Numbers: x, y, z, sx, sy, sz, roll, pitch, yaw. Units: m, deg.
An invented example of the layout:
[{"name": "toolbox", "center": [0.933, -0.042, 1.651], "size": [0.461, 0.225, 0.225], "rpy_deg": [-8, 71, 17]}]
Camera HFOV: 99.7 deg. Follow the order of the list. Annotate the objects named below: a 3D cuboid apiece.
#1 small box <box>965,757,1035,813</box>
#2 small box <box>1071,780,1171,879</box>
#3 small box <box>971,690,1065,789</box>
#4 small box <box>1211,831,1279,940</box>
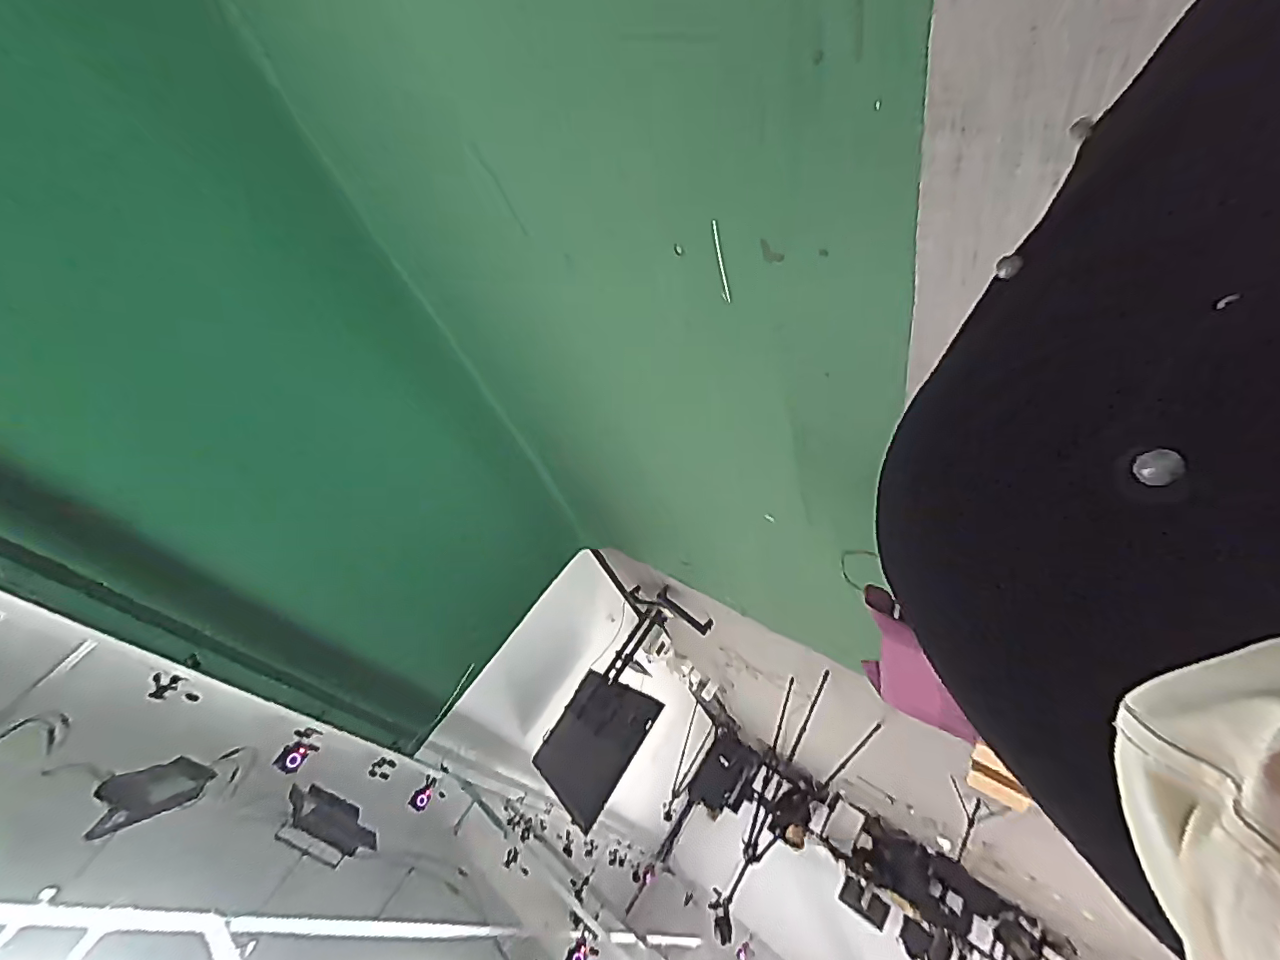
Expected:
[{"name": "small box", "center": [1.151, 0.904, 1.704], "size": [0.168, 0.176, 0.179], "rpy_deg": [19, 149, 37]}, {"name": "small box", "center": [1.366, 0.987, 1.537], "size": [0.168, 0.176, 0.179], "rpy_deg": [20, 152, 37]}, {"name": "small box", "center": [1.049, 0.719, 1.504], "size": [0.168, 0.176, 0.179], "rpy_deg": [21, 152, 35]}, {"name": "small box", "center": [1.525, 0.979, 1.287], "size": [0.168, 0.176, 0.179], "rpy_deg": [21, 152, 36]}]
